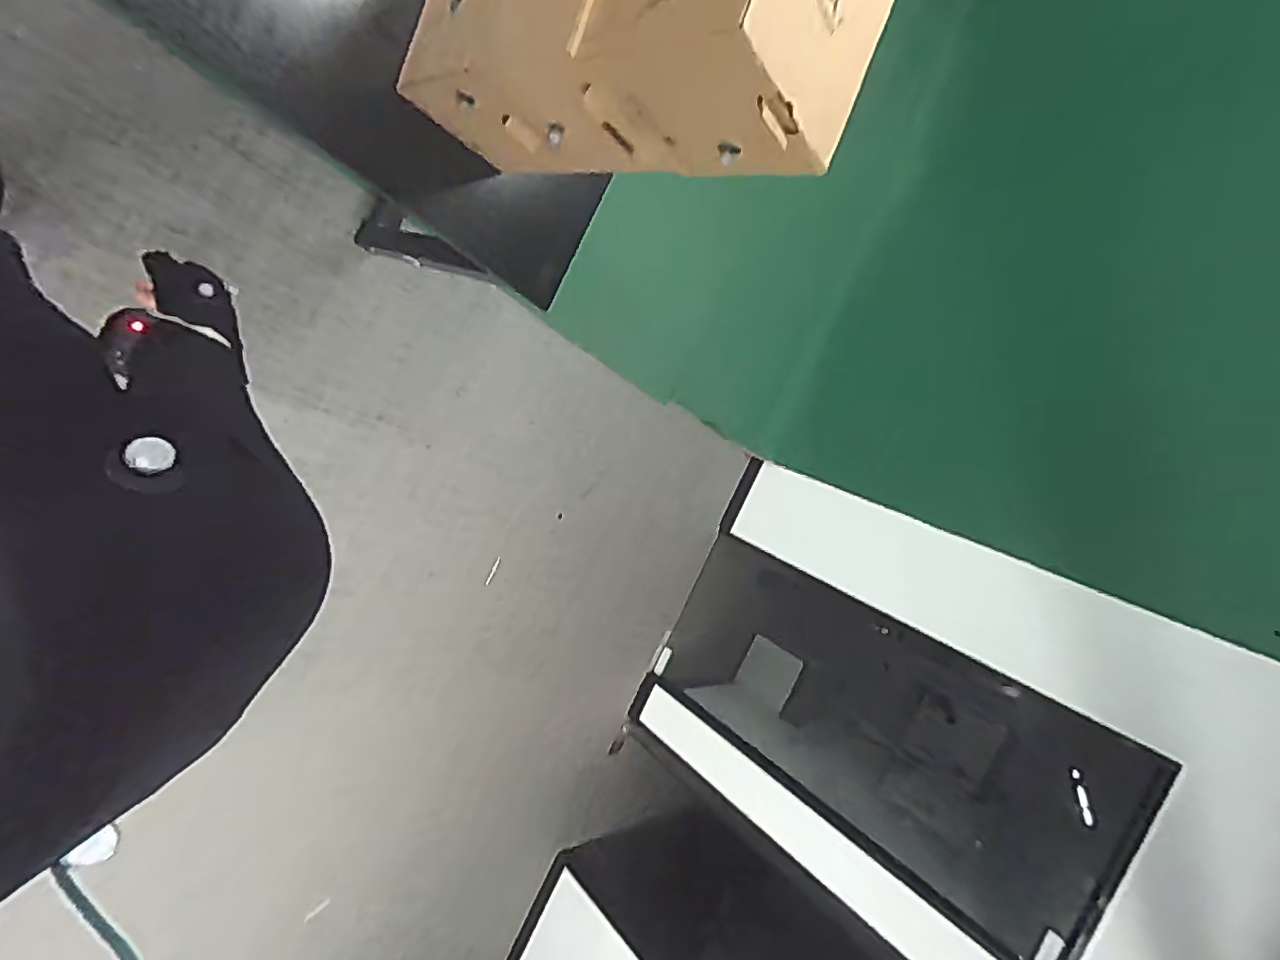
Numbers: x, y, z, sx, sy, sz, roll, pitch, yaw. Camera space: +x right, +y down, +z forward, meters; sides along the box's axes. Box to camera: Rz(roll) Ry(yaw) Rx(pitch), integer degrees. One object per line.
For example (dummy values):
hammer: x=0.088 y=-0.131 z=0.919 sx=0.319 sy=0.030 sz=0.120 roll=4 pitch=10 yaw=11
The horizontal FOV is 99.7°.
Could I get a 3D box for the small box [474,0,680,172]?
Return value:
small box: x=-0.040 y=-0.442 z=0.545 sx=0.168 sy=0.176 sz=0.179 roll=13 pitch=101 yaw=-51
